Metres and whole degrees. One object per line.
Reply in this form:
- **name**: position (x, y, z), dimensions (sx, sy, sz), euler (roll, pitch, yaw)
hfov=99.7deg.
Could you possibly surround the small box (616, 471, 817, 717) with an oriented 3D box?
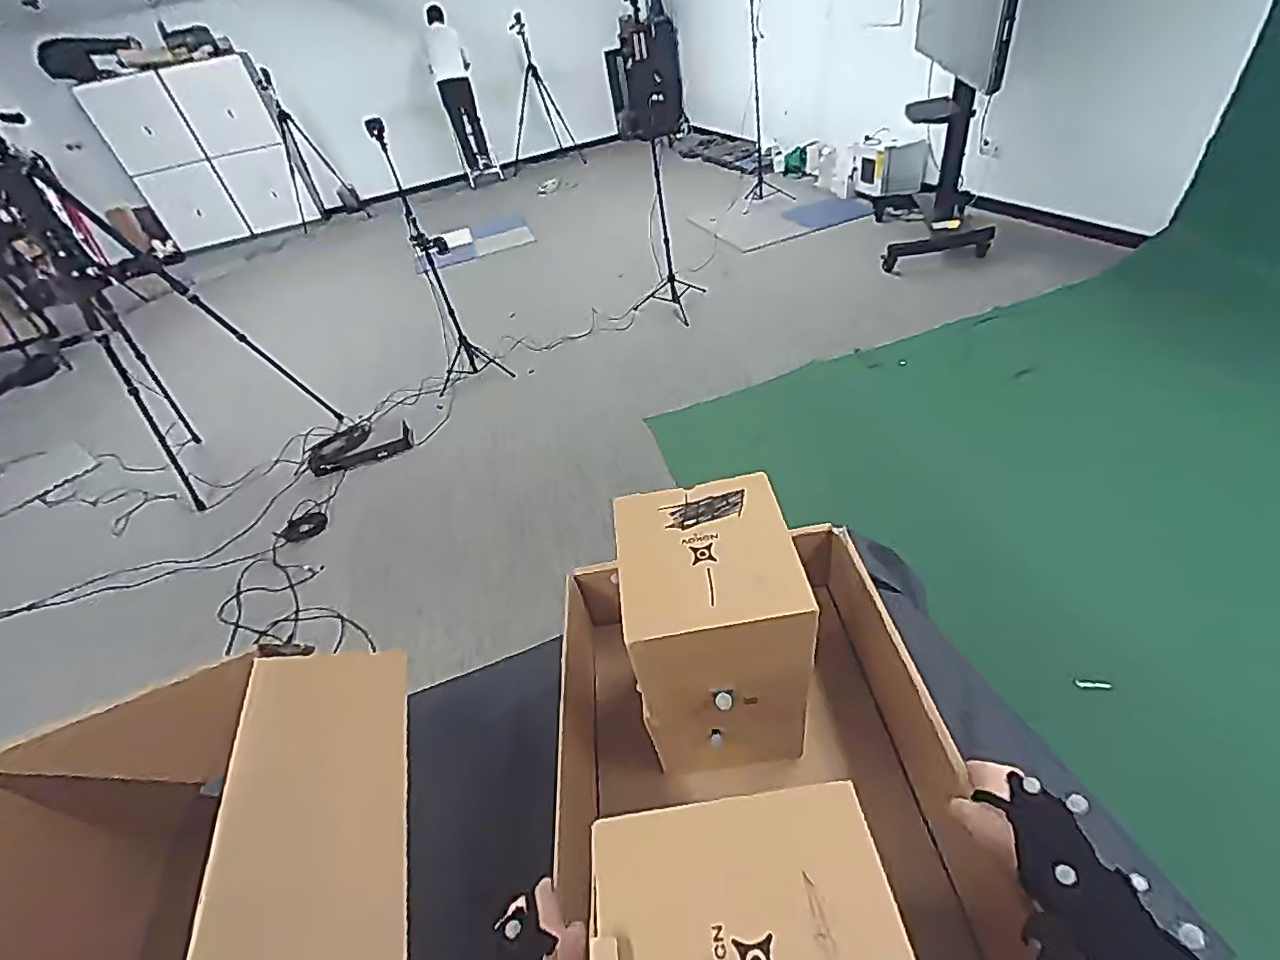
- **small box**: position (0.072, 0.119, 0.564), dimensions (0.168, 0.176, 0.179), euler (-10, 44, 3)
